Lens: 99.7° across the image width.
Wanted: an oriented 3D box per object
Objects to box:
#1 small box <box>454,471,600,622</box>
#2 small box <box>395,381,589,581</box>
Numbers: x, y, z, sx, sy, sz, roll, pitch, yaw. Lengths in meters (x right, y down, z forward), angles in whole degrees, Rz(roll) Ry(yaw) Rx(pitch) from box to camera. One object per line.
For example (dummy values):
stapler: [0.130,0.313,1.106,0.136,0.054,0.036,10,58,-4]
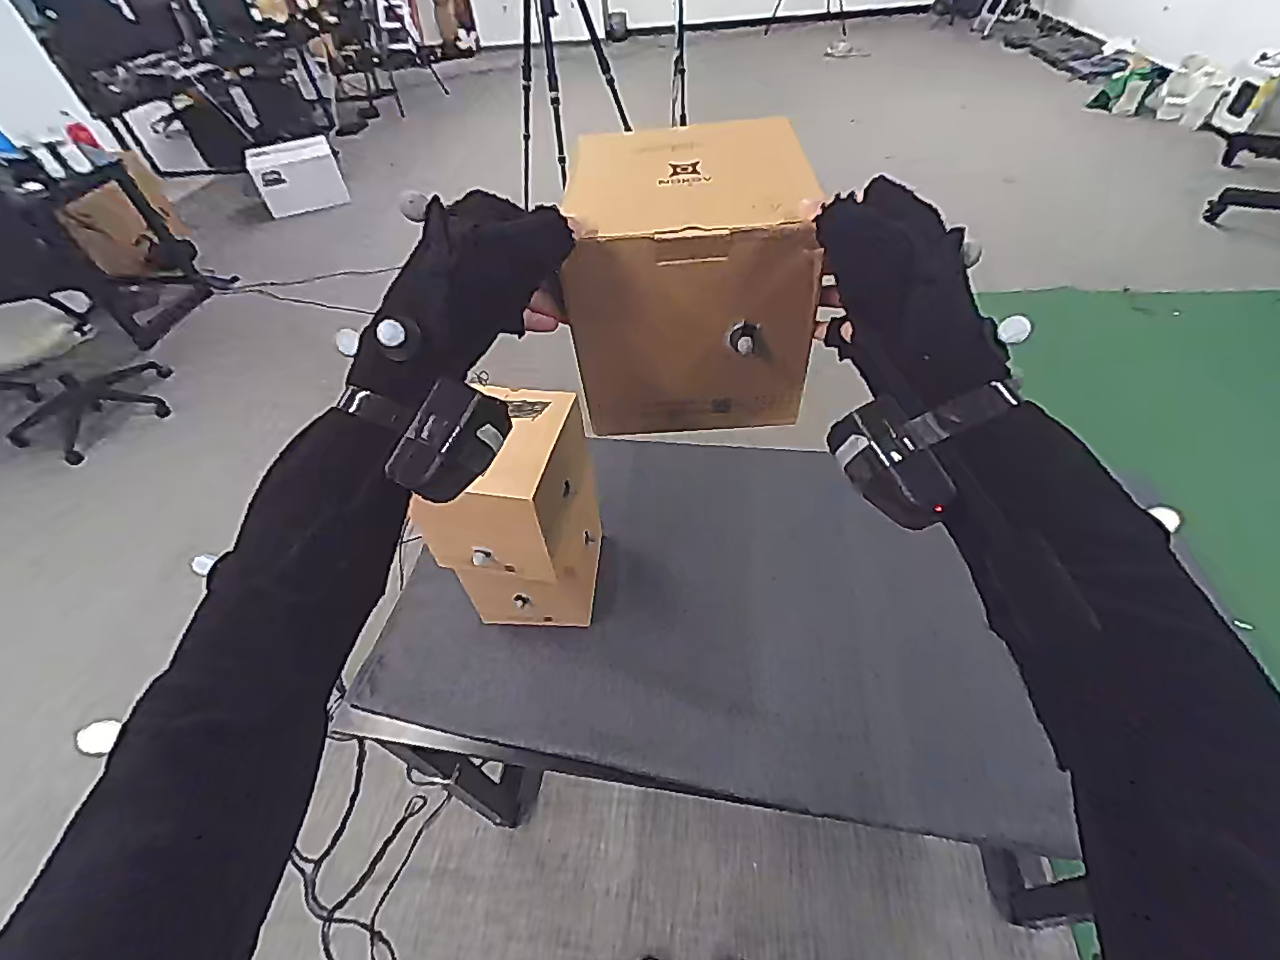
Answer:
small box: [-0.155,0.099,0.814,0.168,0.176,0.179,1,48,4]
small box: [-0.166,0.001,0.682,0.168,0.176,0.179,7,49,10]
